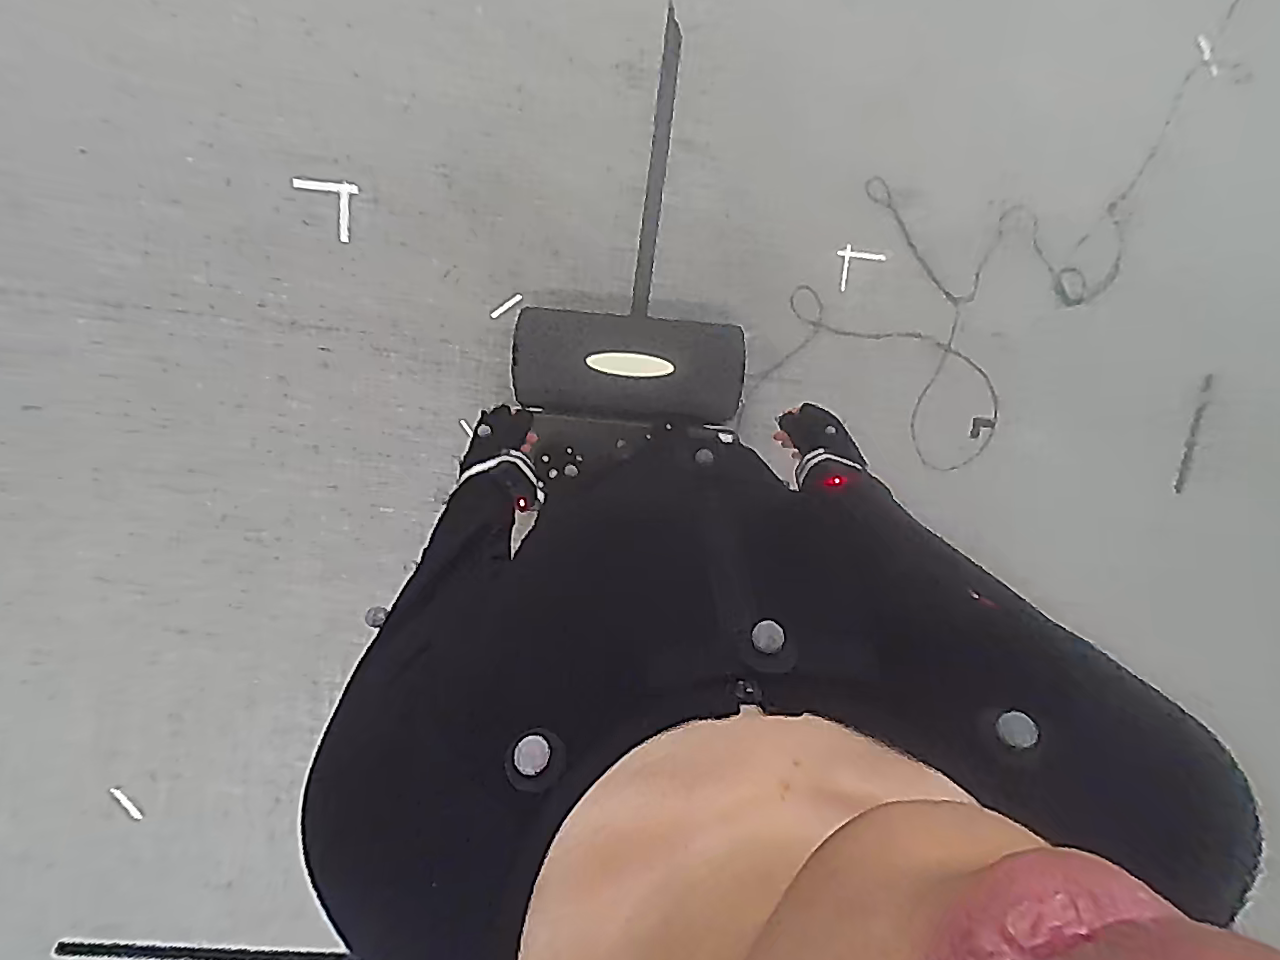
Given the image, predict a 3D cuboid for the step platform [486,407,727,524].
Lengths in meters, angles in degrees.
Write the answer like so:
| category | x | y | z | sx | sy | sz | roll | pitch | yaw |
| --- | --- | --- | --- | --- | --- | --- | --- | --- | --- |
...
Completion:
| category | x | y | z | sx | sy | sz | roll | pitch | yaw |
| --- | --- | --- | --- | --- | --- | --- | --- | --- | --- |
| step platform | -0.091 | -0.042 | 1.565 | 0.684 | 0.204 | 0.286 | 4 | 97 | -3 |
